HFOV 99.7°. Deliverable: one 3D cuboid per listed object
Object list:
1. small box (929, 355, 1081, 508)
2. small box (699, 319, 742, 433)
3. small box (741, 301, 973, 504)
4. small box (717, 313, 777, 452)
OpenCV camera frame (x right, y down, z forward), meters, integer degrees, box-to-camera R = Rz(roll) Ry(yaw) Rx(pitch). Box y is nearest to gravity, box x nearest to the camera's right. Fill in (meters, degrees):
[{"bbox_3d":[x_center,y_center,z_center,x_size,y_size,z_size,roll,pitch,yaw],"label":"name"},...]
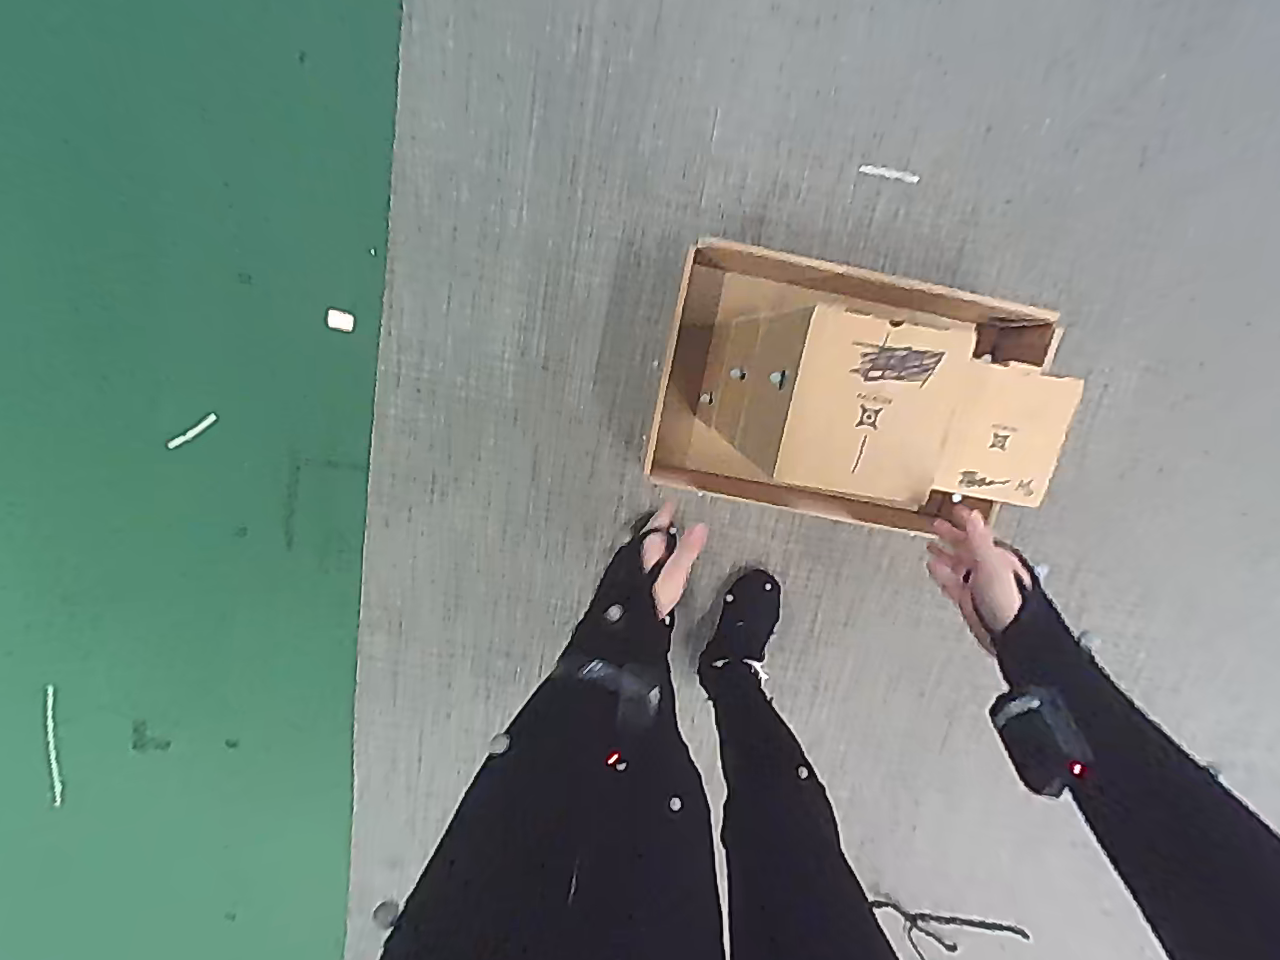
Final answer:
[{"bbox_3d":[0.470,-0.077,0.784,0.168,0.176,0.179,11,102,-2],"label":"small box"},{"bbox_3d":[0.203,-0.166,0.923,0.168,0.176,0.179,10,102,-5],"label":"small box"},{"bbox_3d":[0.222,-0.090,0.607,0.168,0.176,0.179,10,103,-4],"label":"small box"},{"bbox_3d":[0.212,-0.128,0.767,0.168,0.176,0.179,9,102,-4],"label":"small box"}]
